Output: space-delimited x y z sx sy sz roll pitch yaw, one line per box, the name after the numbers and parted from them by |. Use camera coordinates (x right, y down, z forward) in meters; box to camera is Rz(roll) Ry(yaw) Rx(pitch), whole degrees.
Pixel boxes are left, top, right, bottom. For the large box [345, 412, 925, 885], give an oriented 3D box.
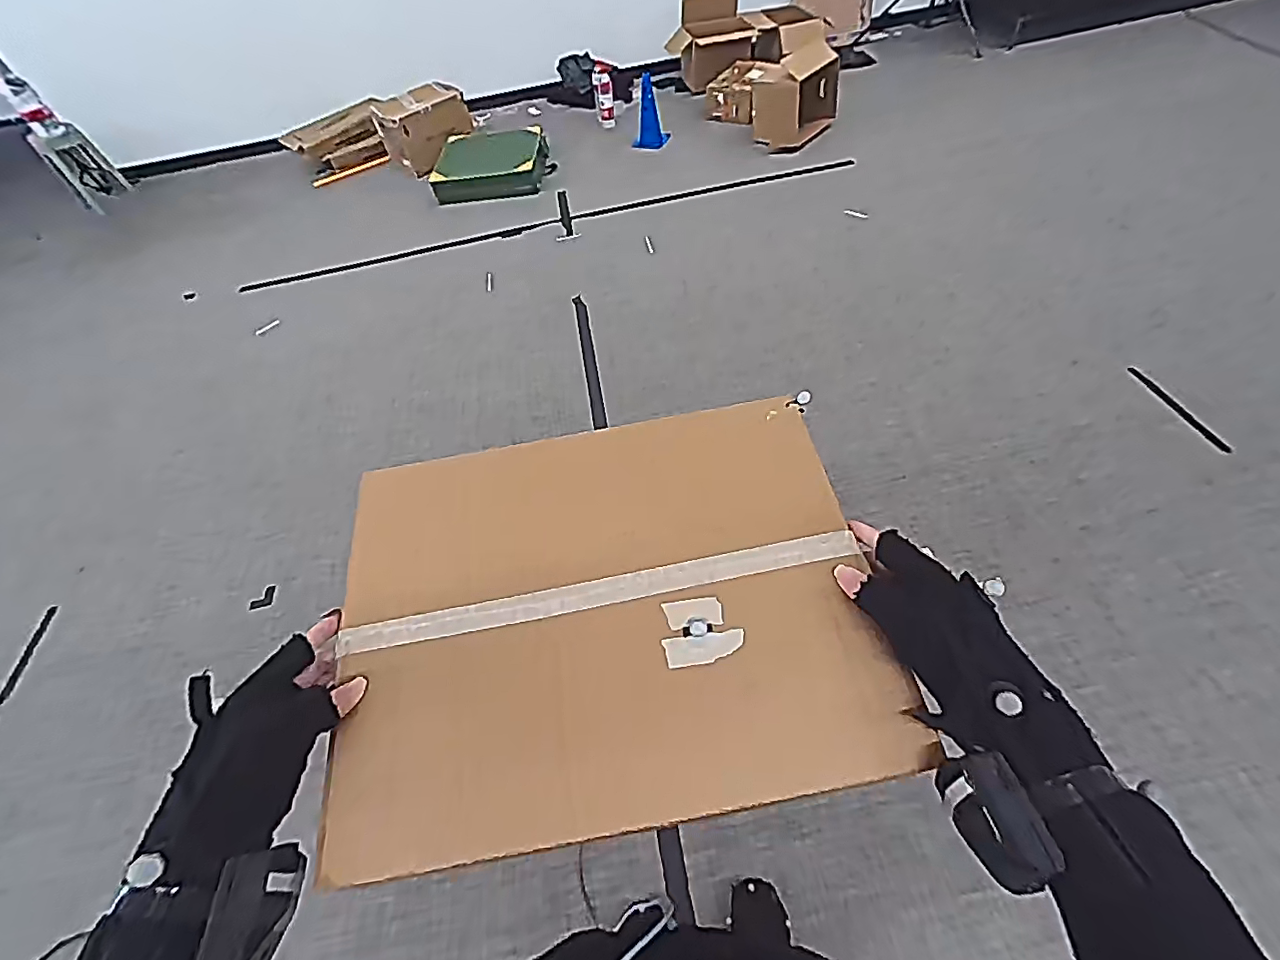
-0.016 0.177 0.561 0.408 0.320 0.320 -11 59 -1 | large box
